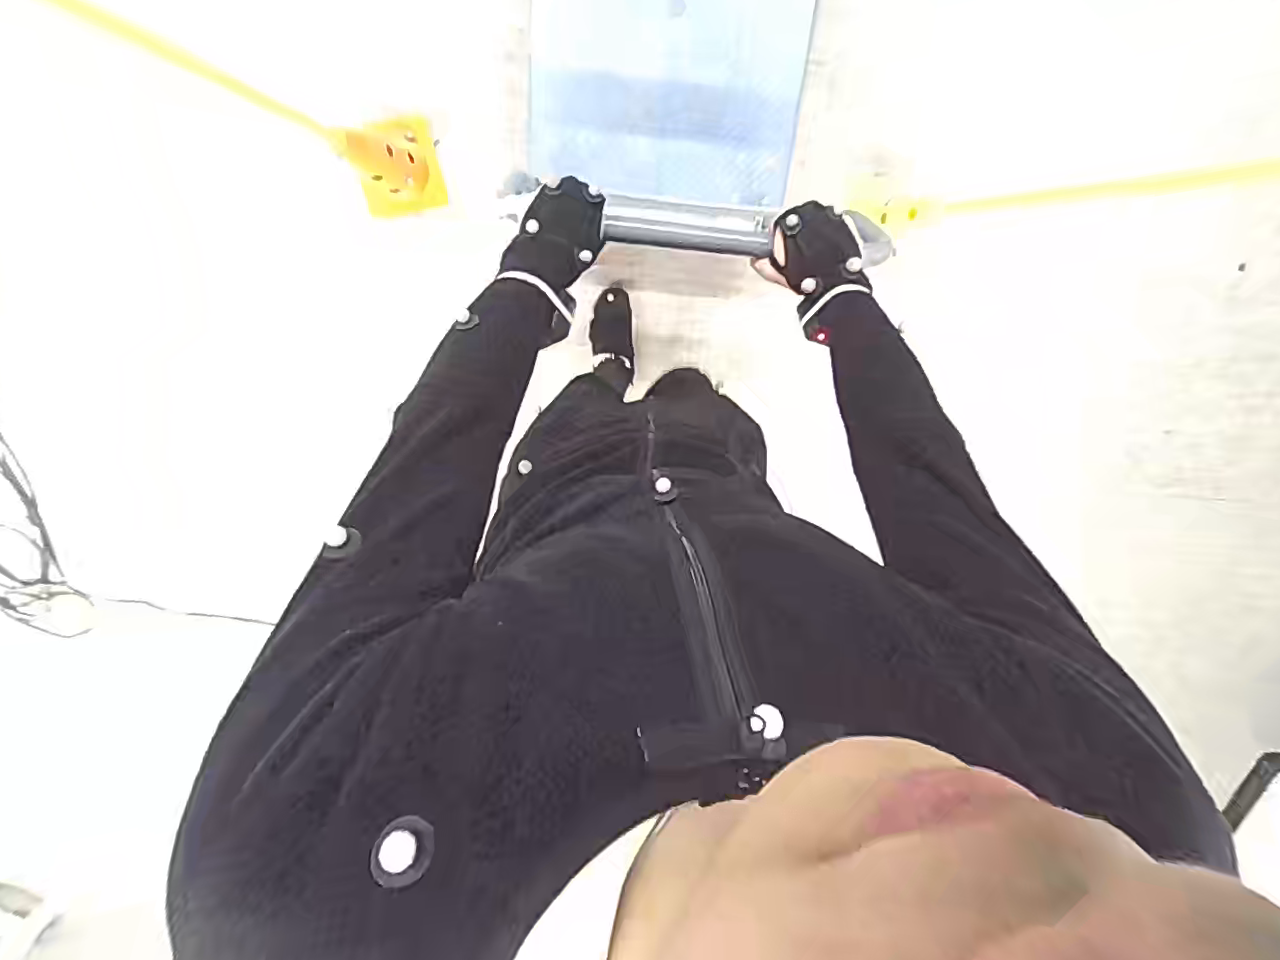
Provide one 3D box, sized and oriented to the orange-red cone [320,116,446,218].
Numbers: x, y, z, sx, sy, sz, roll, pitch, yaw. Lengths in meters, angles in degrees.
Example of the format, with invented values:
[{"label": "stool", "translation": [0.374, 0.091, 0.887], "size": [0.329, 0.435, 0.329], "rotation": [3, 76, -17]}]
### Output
[{"label": "orange-red cone", "translation": [-0.570, -0.681, 1.134], "size": [0.199, 0.360, 0.198], "rotation": [-10, 112, 1]}]
